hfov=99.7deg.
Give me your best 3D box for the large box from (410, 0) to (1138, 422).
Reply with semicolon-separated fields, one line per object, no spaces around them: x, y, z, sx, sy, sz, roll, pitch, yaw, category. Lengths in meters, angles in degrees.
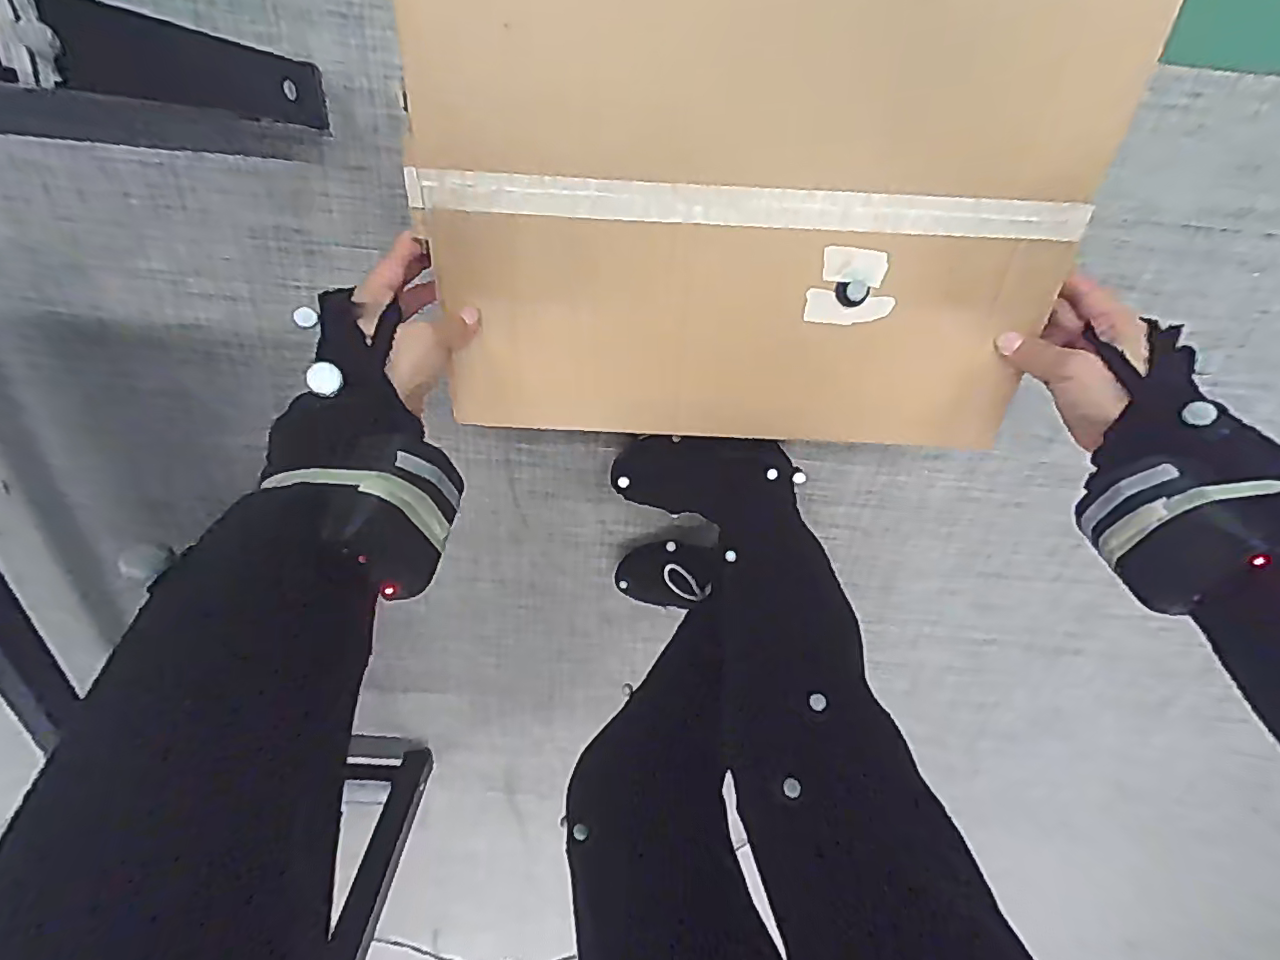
0.067;-0.253;0.469;0.408;0.320;0.320;1;121;-2;large box
